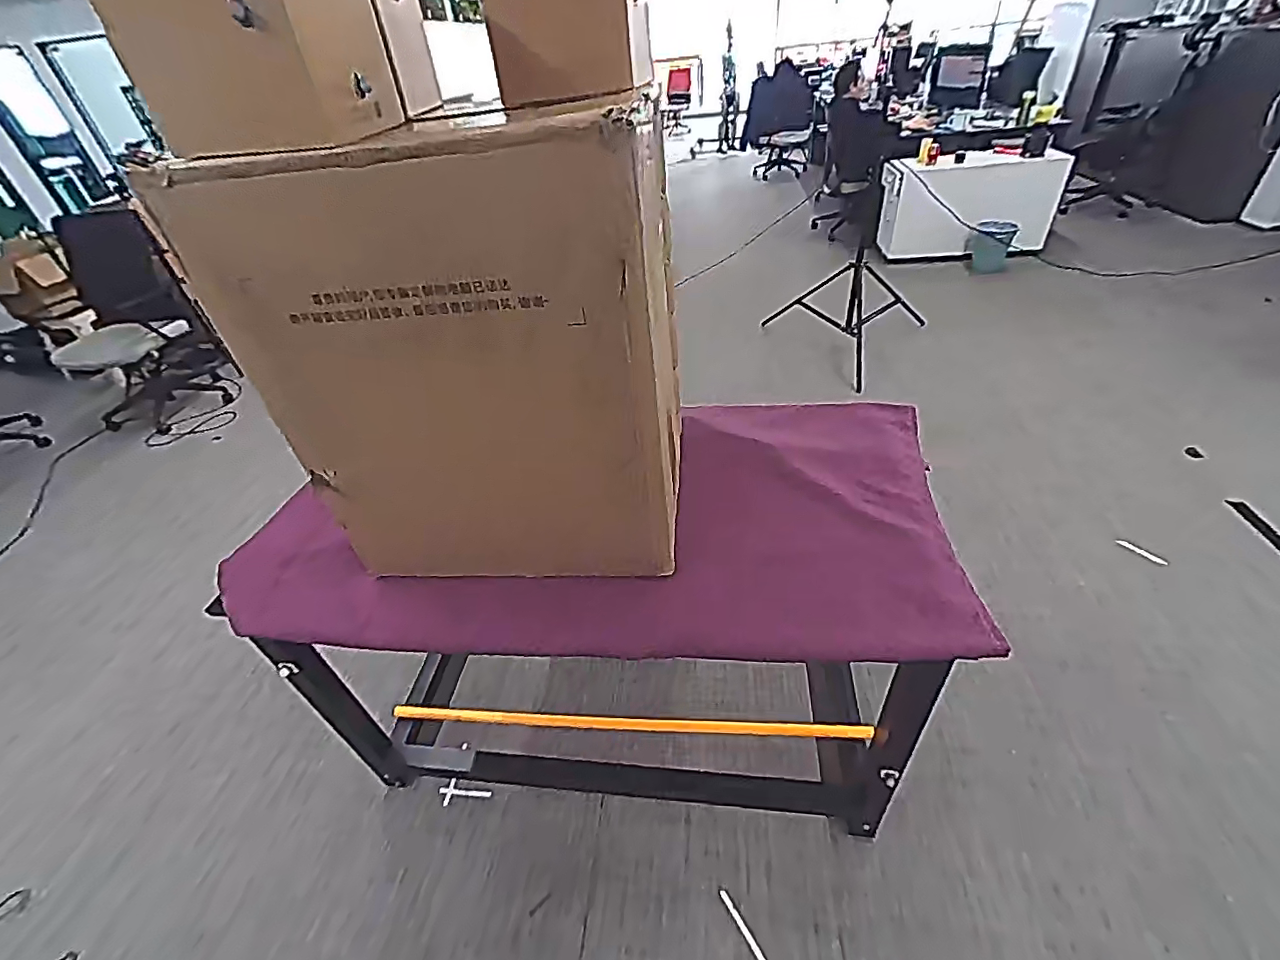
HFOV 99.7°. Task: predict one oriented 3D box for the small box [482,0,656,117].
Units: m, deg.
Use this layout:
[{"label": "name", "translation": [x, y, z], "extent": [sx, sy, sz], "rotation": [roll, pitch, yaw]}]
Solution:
[{"label": "small box", "translation": [-0.080, -0.574, 0.678], "extent": [0.179, 0.176, 0.168], "rotation": [1, 39, 12]}]
